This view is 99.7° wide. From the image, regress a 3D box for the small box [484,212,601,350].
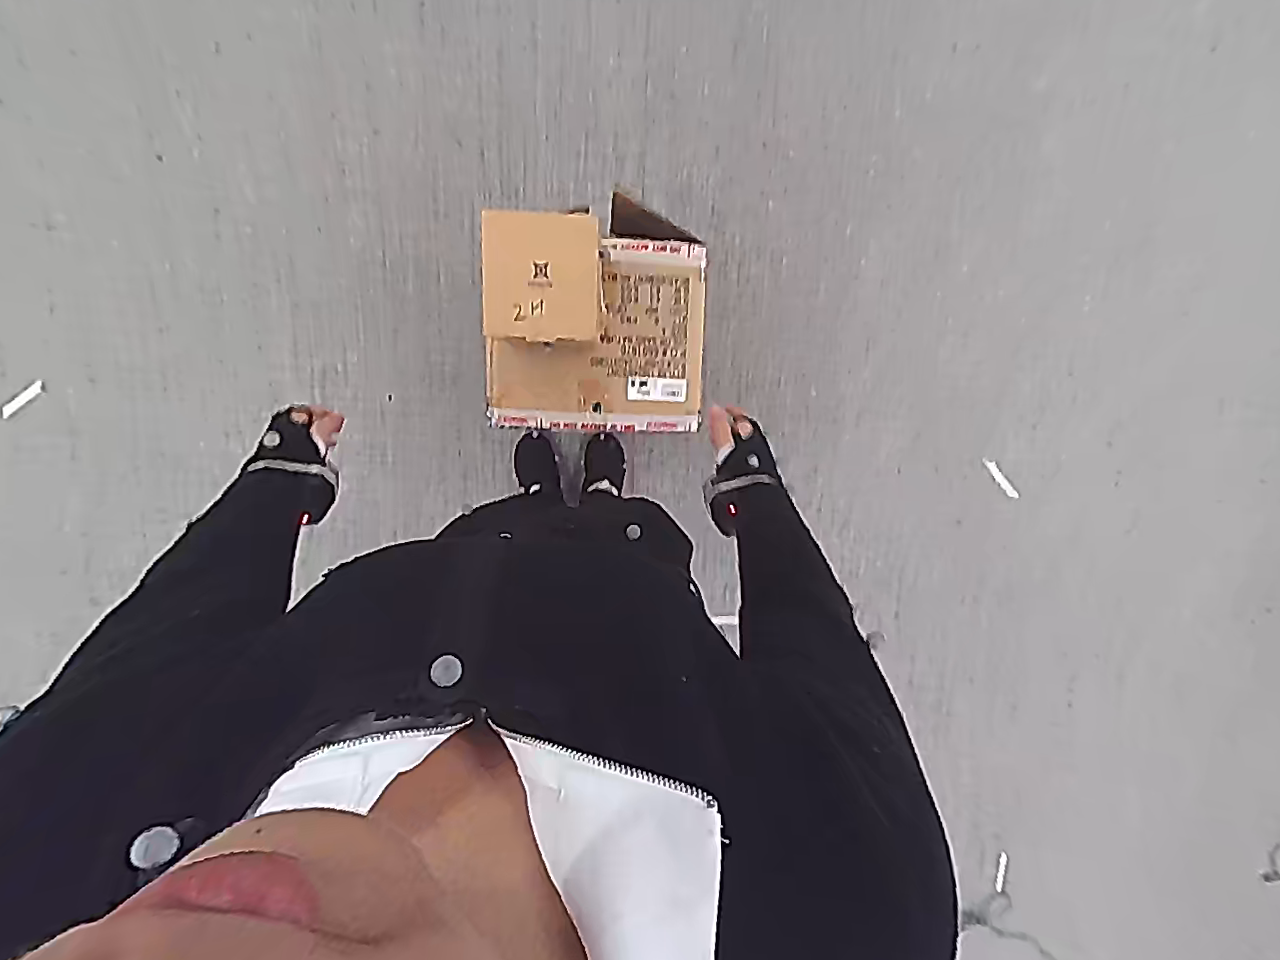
[{"bbox_3d":[-0.147,-0.303,0.855,0.168,0.176,0.179,2,101,-3],"label":"small box"}]
